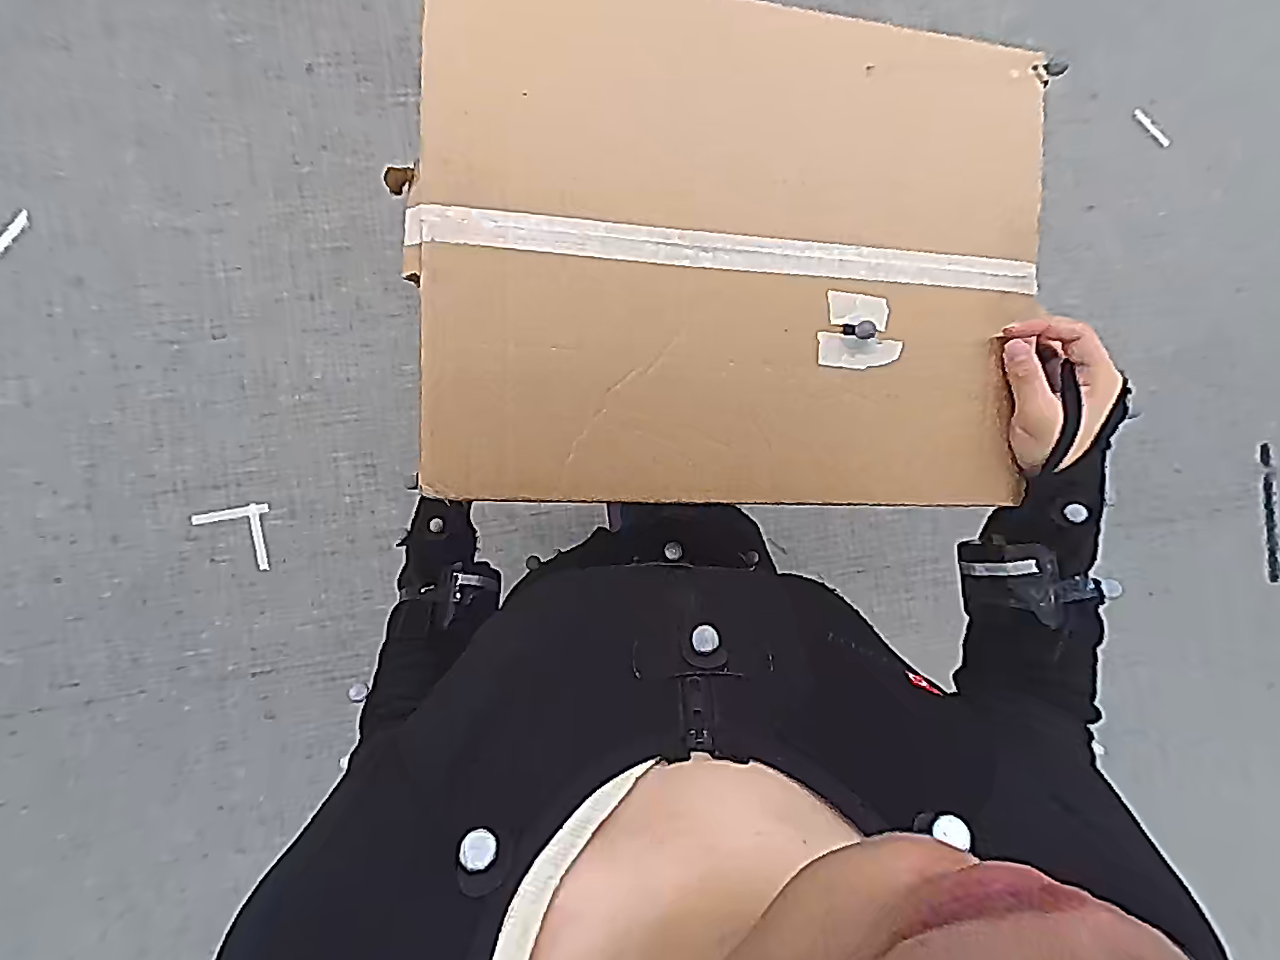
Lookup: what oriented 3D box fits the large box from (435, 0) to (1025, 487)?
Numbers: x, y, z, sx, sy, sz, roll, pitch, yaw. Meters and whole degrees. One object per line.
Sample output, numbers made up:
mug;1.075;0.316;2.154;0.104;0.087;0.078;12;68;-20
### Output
large box;0.046;-0.157;0.496;0.408;0.320;0.320;1;93;-12
